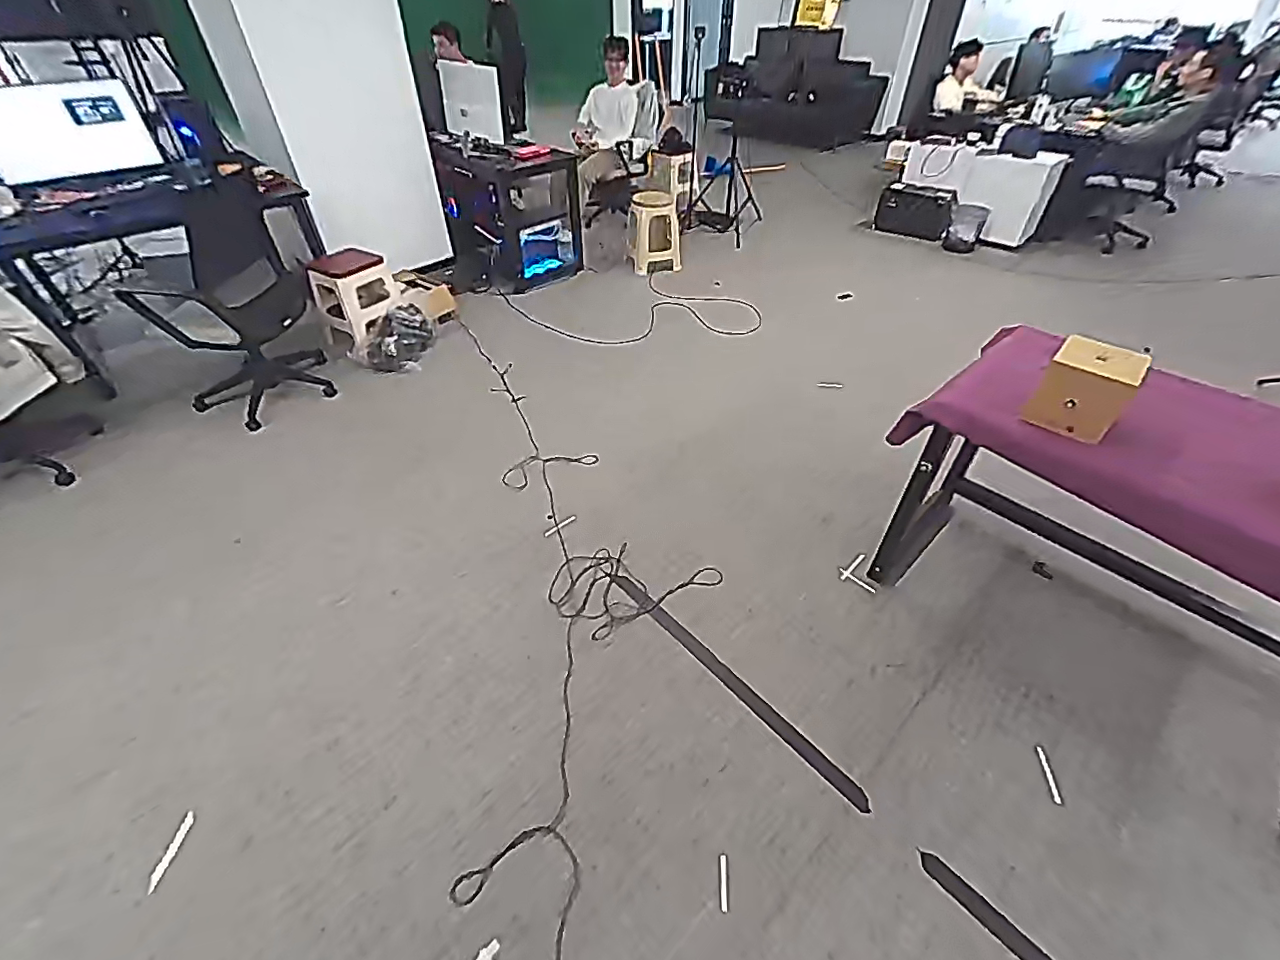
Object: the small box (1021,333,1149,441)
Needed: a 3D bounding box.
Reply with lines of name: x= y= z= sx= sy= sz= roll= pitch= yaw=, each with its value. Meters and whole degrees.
small box: x=1.048 y=-0.220 z=1.284 sx=0.168 sy=0.176 sz=0.179 roll=32 pitch=50 yaw=30
